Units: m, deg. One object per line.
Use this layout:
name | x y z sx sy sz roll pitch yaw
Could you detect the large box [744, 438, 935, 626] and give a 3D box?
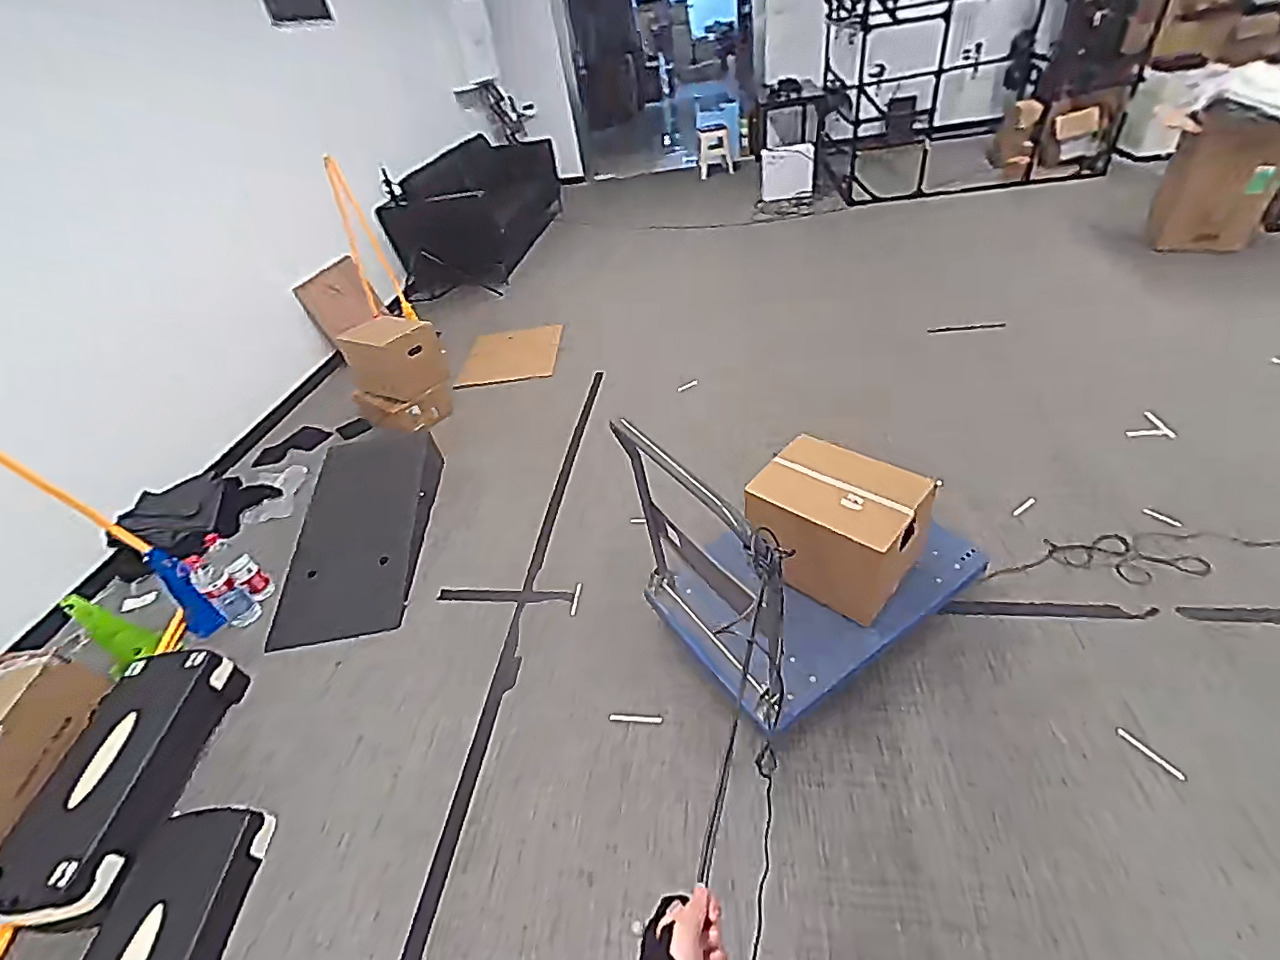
large box | 0.549 0.135 1.554 0.408 0.320 0.320 27 53 35
